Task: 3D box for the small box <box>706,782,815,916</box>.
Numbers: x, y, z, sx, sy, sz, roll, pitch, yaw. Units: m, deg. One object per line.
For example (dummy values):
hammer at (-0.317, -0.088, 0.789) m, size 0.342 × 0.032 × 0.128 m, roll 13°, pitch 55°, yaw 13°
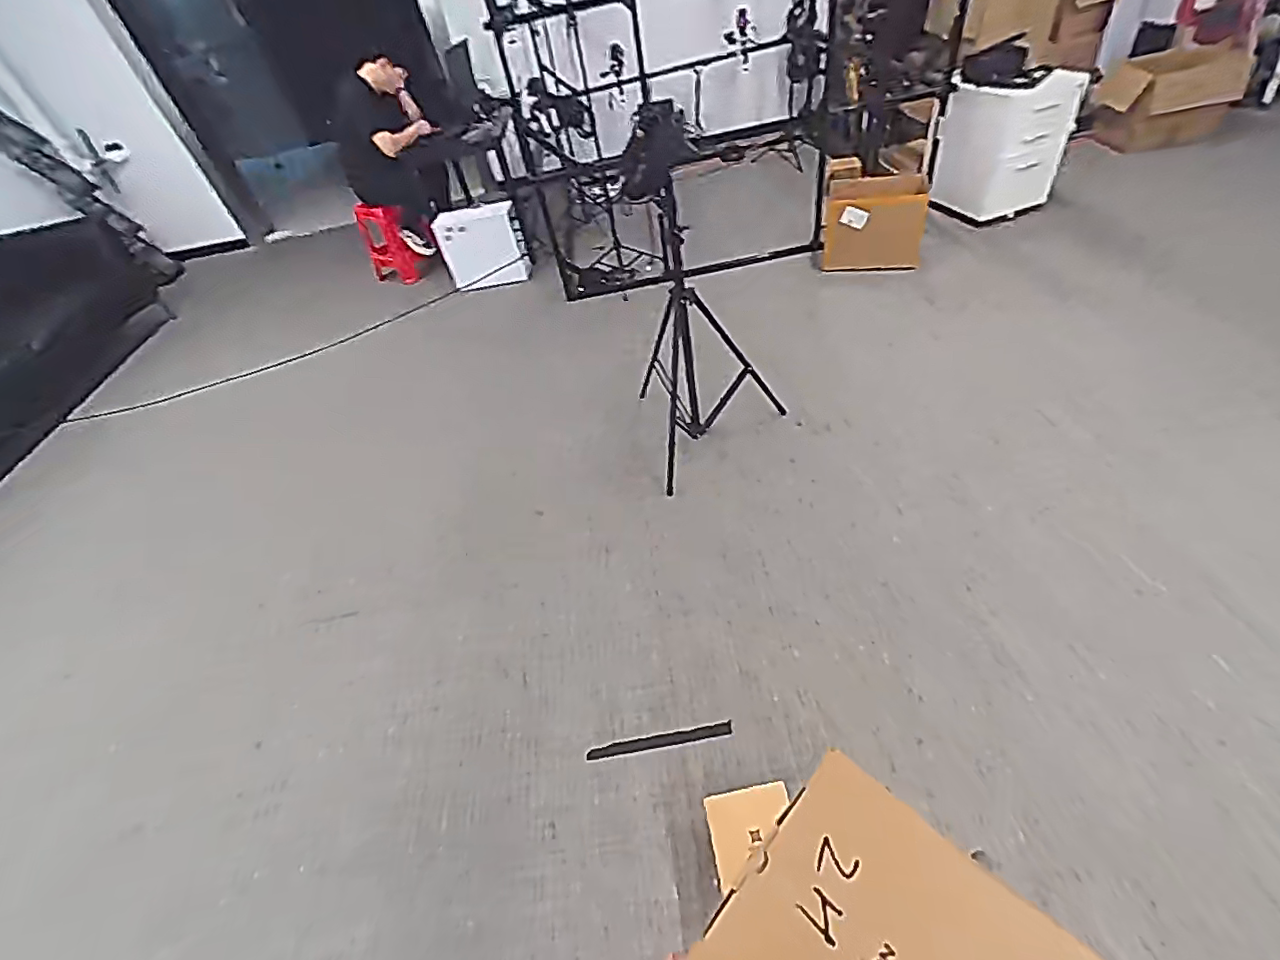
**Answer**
small box at (0.232, 0.735, 1.076) m, size 0.168 × 0.176 × 0.179 m, roll -12°, pitch 45°, yaw 0°
